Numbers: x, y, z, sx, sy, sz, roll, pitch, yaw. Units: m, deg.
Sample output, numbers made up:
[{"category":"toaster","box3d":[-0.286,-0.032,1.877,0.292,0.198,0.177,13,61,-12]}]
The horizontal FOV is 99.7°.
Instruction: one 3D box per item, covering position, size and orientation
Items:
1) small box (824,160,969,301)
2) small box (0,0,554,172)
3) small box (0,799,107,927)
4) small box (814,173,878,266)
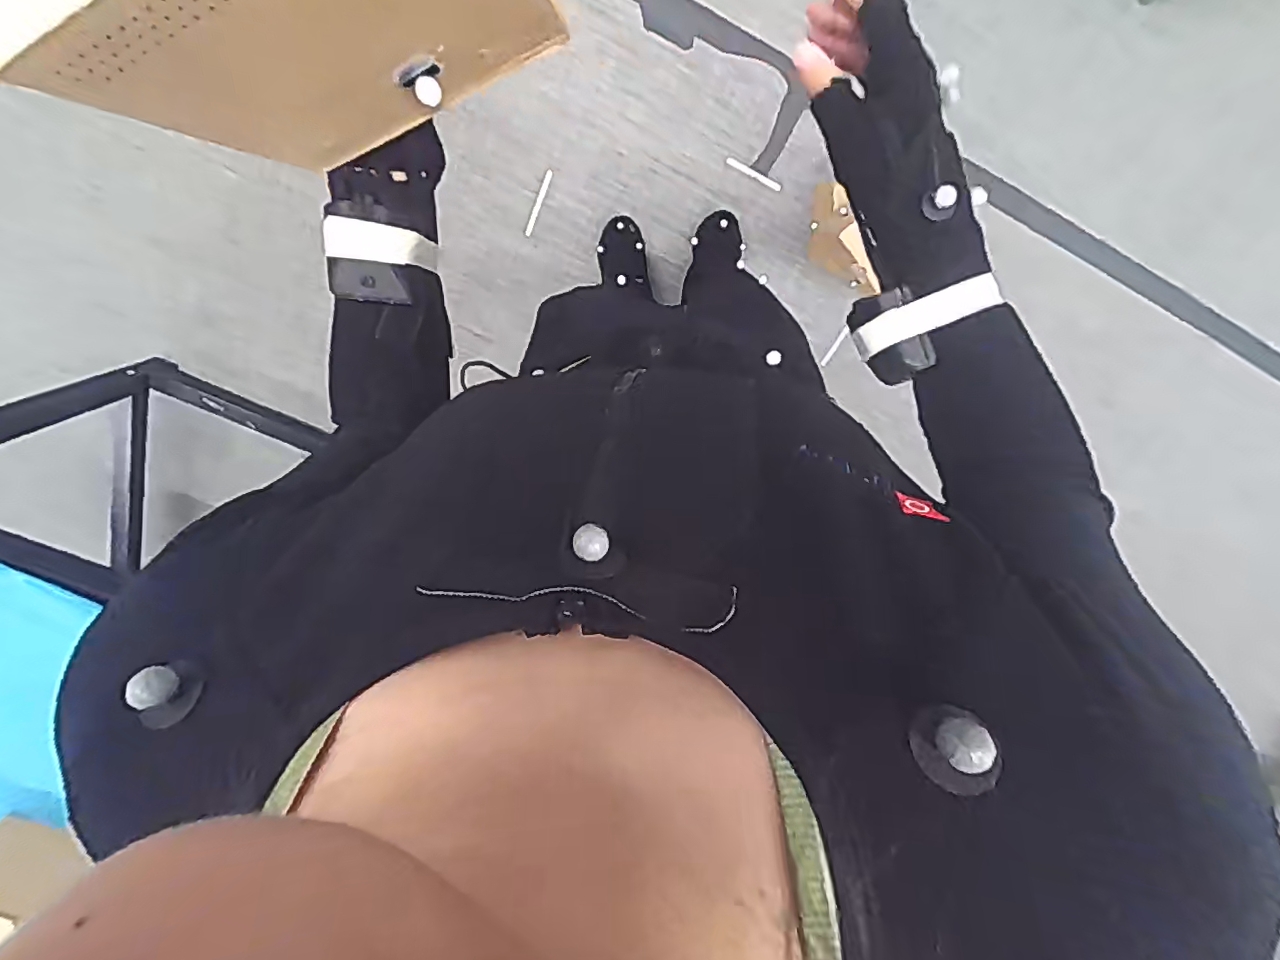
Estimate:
[{"category":"small box","box3d":[0.473,-0.474,1.030,0.179,0.176,0.168,-36,113,20]},{"category":"small box","box3d":[-0.163,-0.255,0.211,0.179,0.176,0.168,-18,106,14]},{"category":"small box","box3d":[-1.374,0.857,1.220,0.179,0.176,0.168,25,118,-12]},{"category":"small box","box3d":[0.482,-0.566,1.168,0.179,0.176,0.168,-5,118,5]}]
